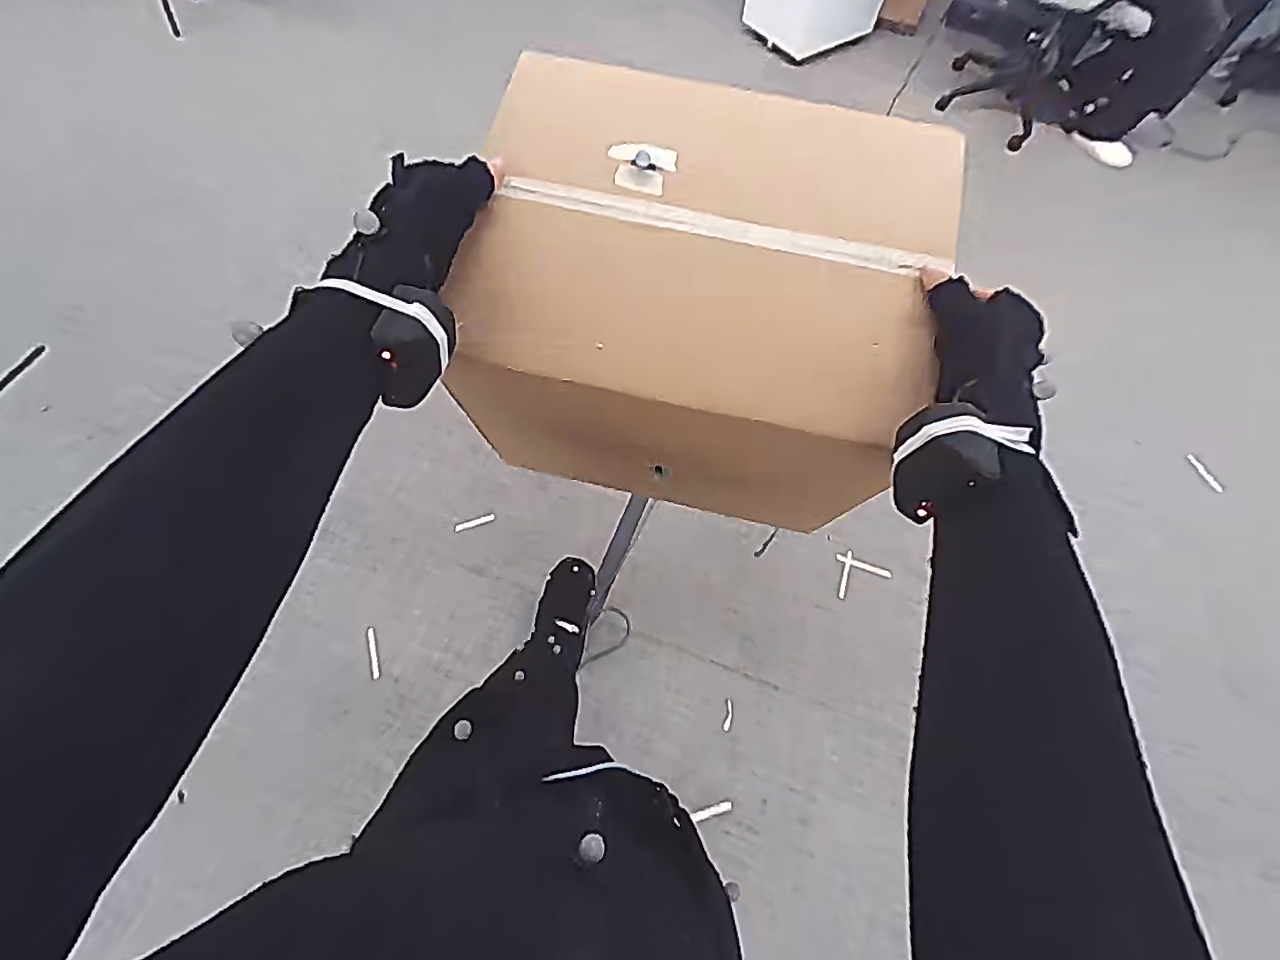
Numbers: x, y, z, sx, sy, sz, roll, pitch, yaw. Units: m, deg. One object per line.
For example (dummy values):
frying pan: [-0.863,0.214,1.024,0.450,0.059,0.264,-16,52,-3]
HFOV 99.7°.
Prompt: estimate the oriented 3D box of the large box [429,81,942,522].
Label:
large box: [0.055,-0.164,0.611,0.408,0.320,0.320,13,73,5]
